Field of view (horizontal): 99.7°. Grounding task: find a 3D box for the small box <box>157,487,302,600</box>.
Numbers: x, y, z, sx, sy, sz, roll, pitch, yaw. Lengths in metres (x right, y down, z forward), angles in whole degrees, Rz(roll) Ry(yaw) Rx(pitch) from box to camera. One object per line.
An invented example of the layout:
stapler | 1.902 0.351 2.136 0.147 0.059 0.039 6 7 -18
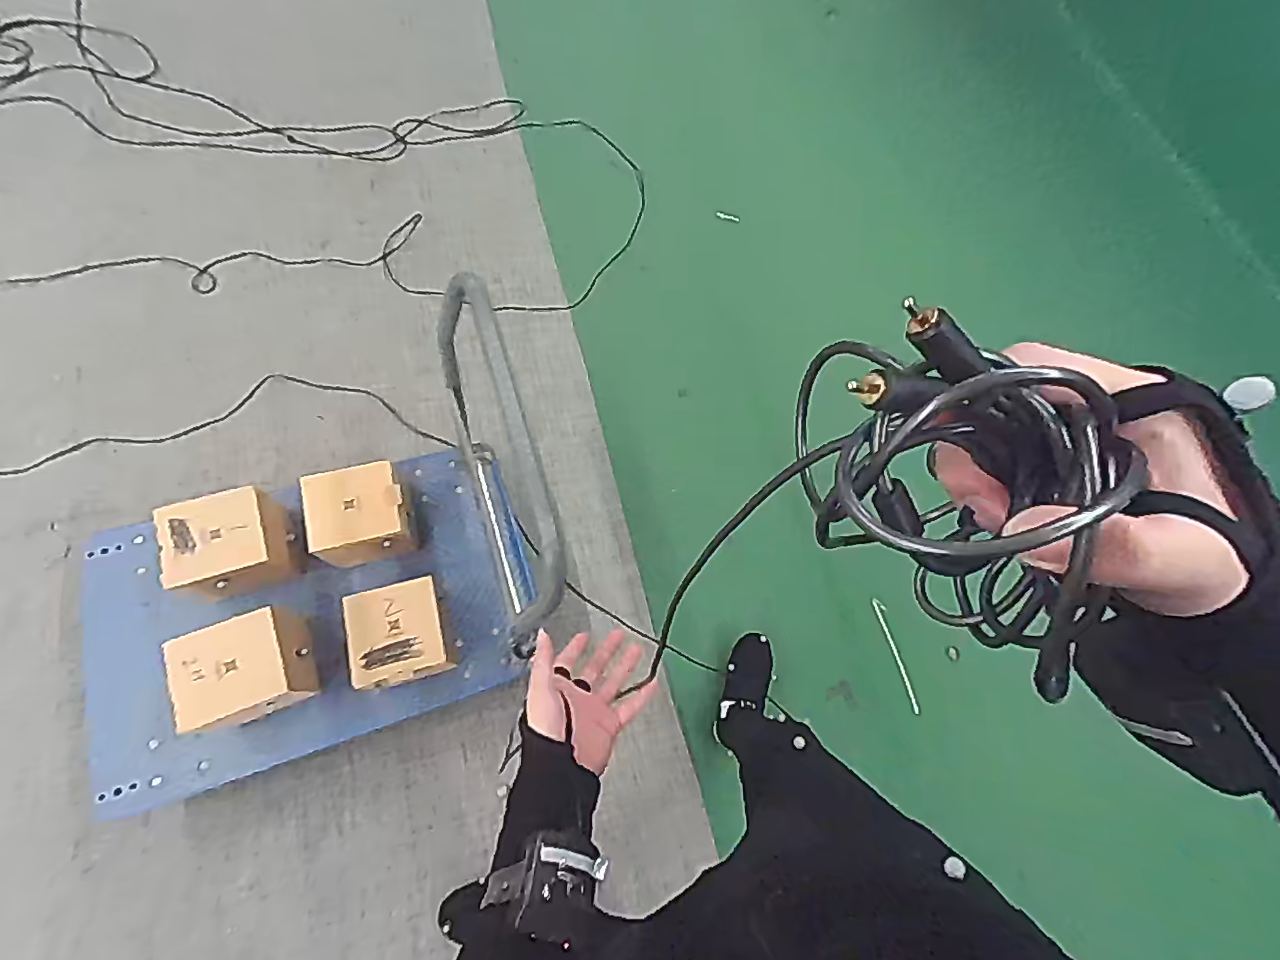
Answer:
small box | -0.832 0.136 1.107 0.179 0.176 0.168 -16 74 -17

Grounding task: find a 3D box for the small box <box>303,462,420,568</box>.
small box | -0.597 0.081 1.172 0.179 0.176 0.168 -13 72 -15

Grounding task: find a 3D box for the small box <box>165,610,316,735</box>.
small box | -0.748 0.364 1.034 0.179 0.176 0.168 -19 73 -17
